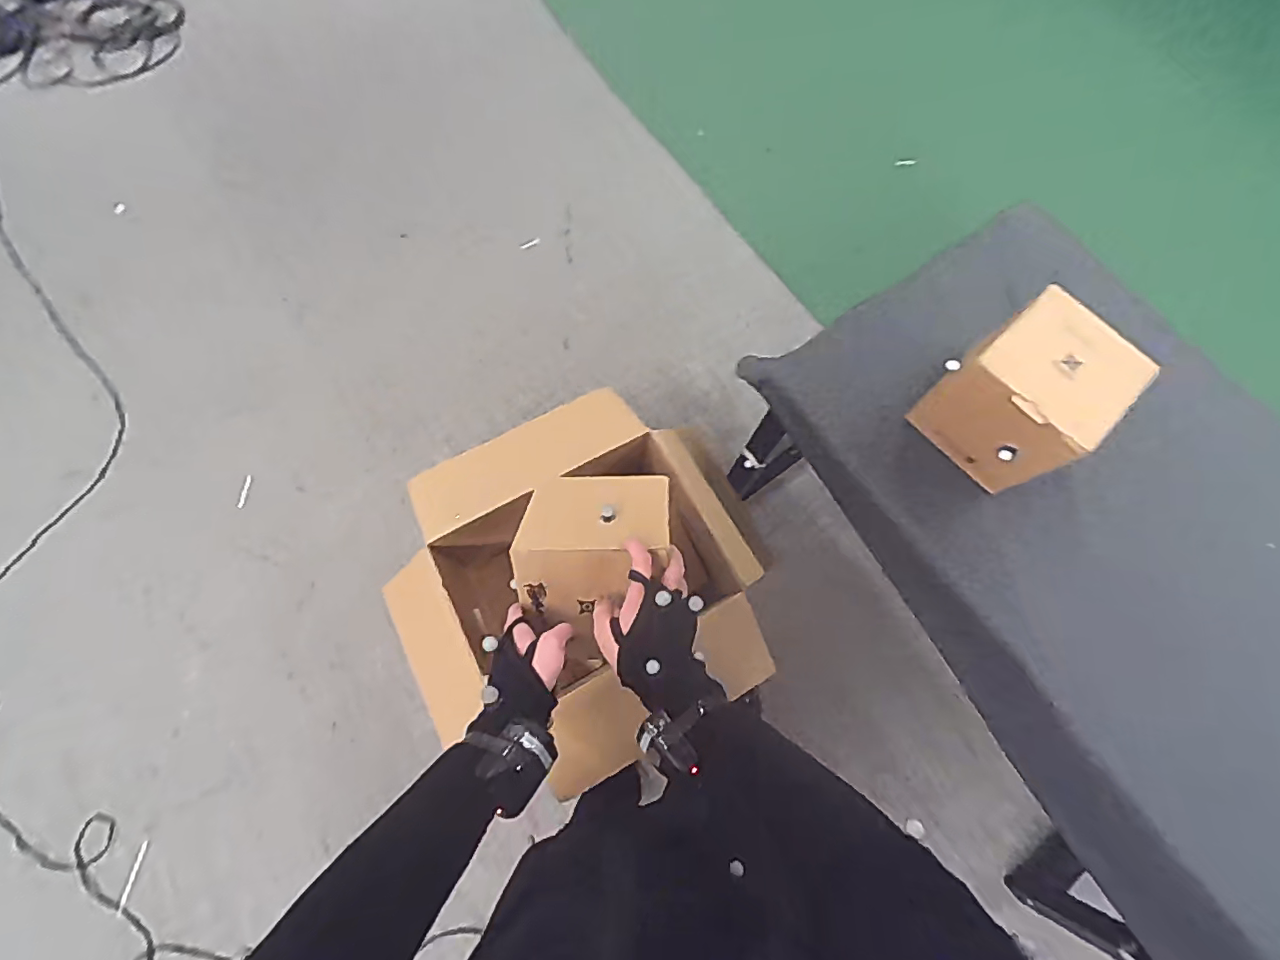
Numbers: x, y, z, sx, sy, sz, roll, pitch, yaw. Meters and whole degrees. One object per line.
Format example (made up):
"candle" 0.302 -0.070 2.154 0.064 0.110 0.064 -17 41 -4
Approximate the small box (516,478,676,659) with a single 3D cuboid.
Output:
"small box" -0.046 0.106 0.690 0.179 0.168 0.176 -1 28 3

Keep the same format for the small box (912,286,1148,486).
"small box" 0.511 -0.117 0.741 0.179 0.176 0.168 -42 80 -16
